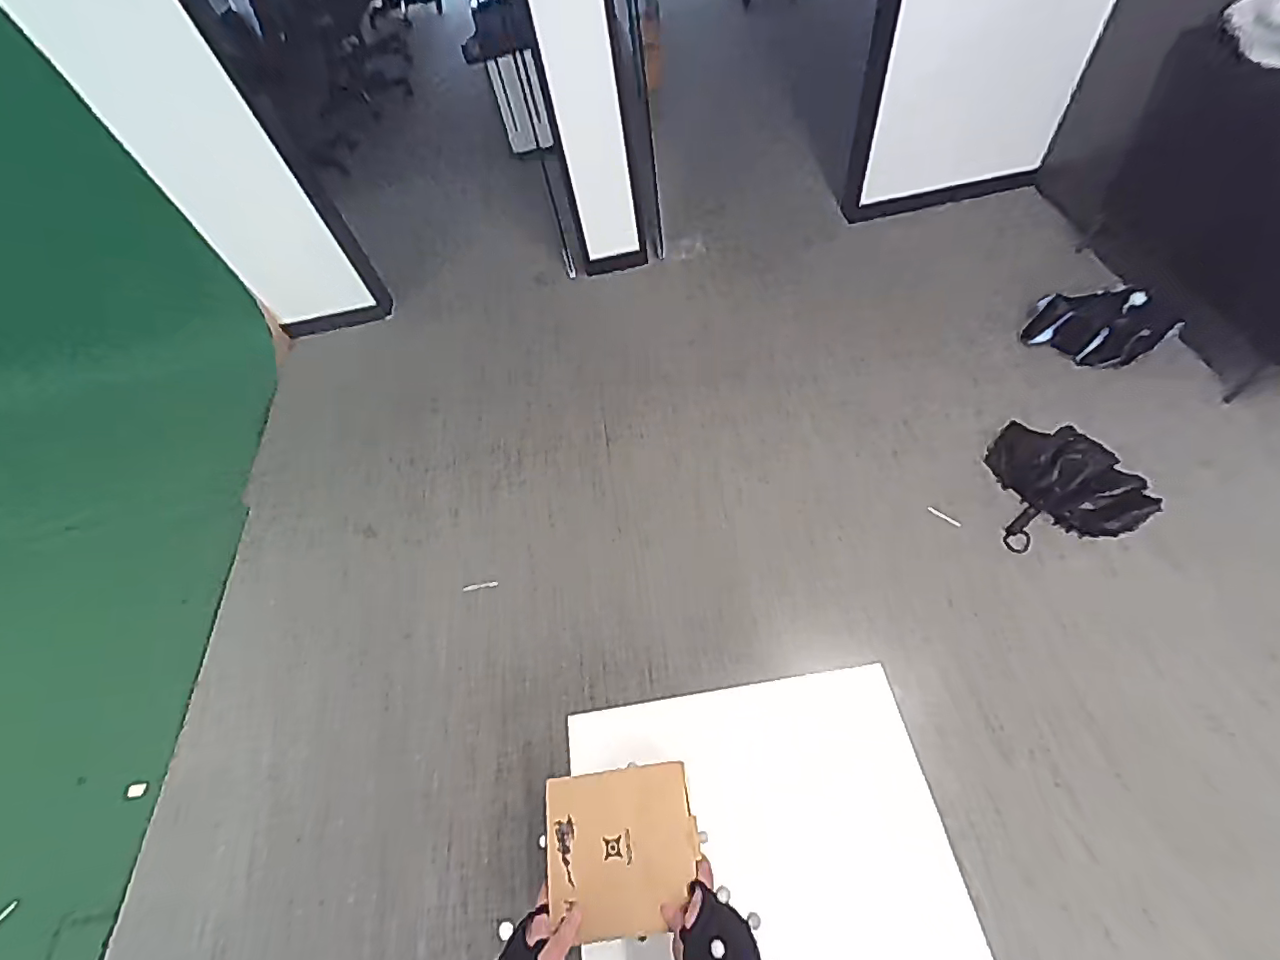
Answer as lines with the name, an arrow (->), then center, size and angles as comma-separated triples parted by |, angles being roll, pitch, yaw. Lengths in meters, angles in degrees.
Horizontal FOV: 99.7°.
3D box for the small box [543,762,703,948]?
small box -> -0.020, 0.468, 0.691 | 0.179, 0.176, 0.168 | -9, 56, 1
